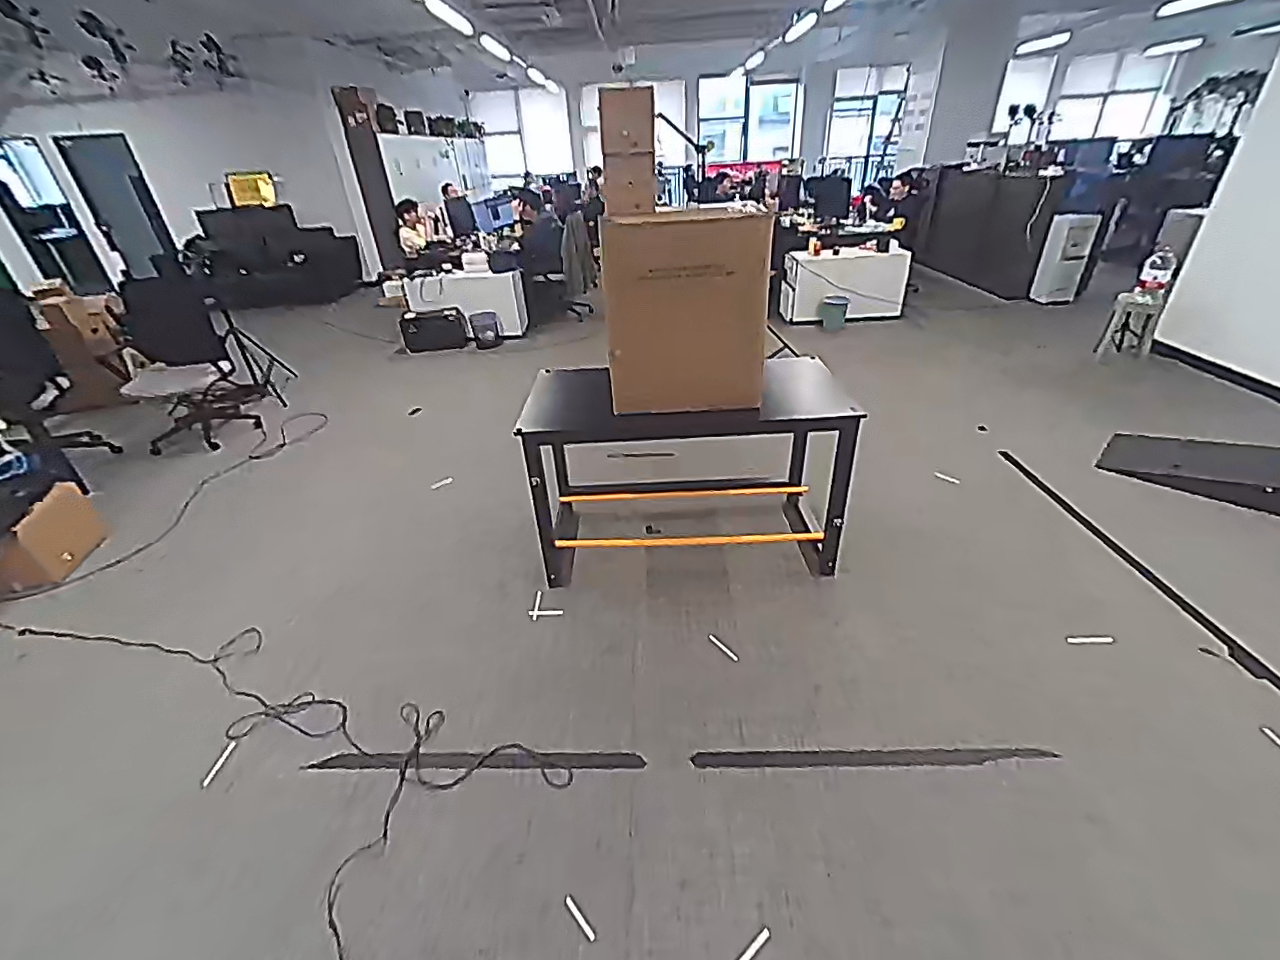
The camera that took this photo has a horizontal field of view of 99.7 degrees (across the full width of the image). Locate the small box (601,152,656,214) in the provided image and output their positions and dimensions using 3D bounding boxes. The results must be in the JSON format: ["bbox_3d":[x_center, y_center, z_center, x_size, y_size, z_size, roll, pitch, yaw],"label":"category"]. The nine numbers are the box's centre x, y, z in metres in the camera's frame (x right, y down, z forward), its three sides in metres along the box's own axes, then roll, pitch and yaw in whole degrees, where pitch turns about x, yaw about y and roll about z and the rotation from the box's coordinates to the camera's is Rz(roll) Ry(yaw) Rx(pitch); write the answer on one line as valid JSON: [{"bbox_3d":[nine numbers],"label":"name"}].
[{"bbox_3d":[-0.033,-0.969,1.764,0.168,0.176,0.179,-2,31,1],"label":"small box"}]

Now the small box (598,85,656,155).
[{"bbox_3d":[-0.037,-1.102,1.665,0.168,0.176,0.179,-1,31,2],"label":"small box"}]
